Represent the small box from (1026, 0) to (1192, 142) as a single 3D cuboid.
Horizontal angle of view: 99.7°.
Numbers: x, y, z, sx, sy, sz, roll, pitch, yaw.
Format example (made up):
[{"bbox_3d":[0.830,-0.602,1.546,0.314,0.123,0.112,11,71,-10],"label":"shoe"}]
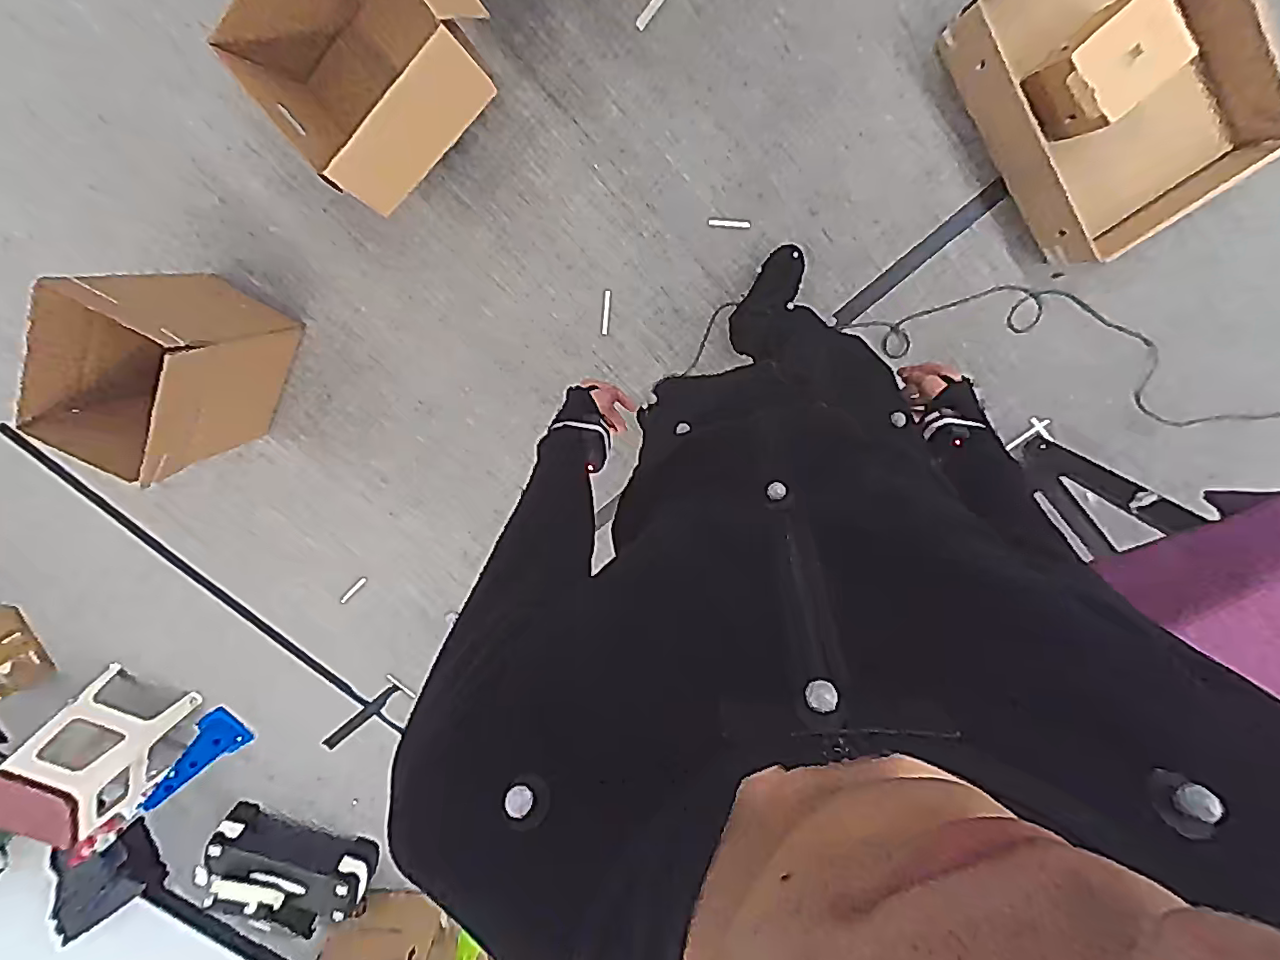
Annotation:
[{"bbox_3d":[0.944,-0.838,1.113,0.179,0.176,0.168,-40,104,18],"label":"small box"}]
